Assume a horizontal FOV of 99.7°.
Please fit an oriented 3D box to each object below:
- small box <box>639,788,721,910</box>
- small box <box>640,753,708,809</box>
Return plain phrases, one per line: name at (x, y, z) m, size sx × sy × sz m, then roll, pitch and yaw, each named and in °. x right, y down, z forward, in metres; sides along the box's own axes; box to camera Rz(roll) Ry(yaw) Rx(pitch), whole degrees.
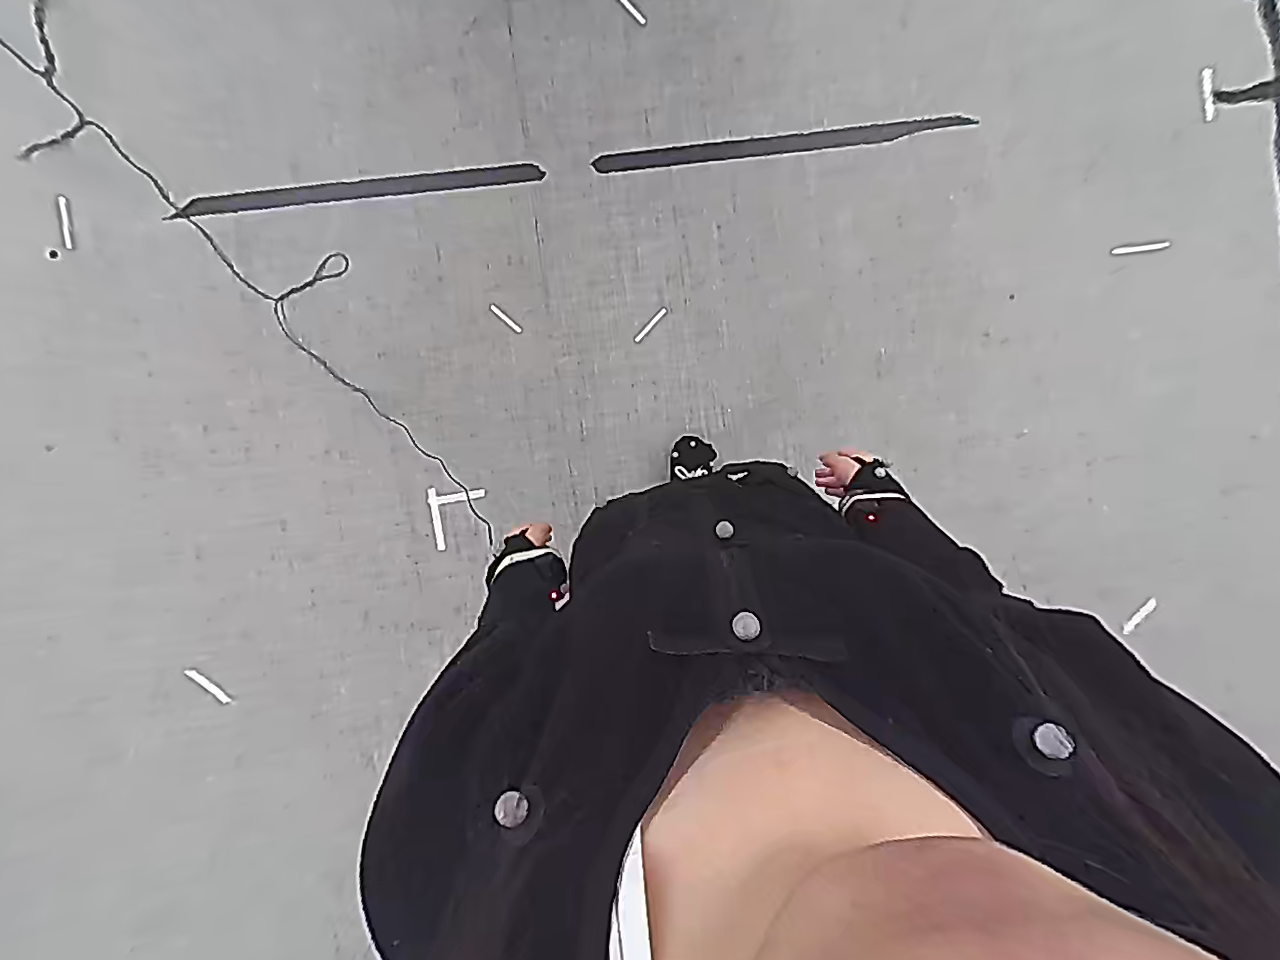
small box at (0.089, 0.861, 1.282) m, size 0.168 × 0.176 × 0.179 m, roll -10°, pitch 92°, yaw 2°
small box at (0.091, 0.855, 1.444) m, size 0.168 × 0.176 × 0.179 m, roll -9°, pitch 92°, yaw 0°
